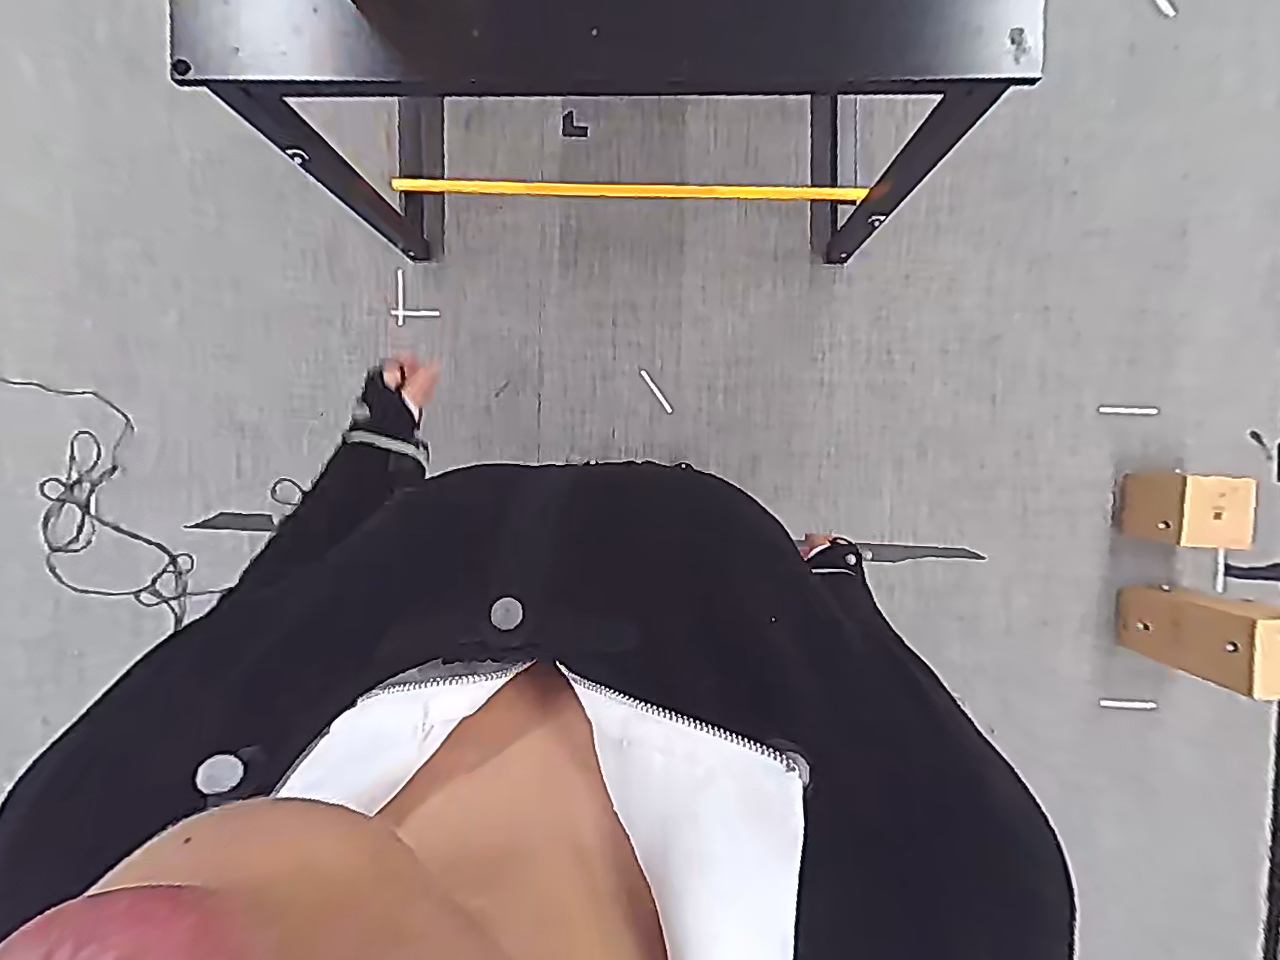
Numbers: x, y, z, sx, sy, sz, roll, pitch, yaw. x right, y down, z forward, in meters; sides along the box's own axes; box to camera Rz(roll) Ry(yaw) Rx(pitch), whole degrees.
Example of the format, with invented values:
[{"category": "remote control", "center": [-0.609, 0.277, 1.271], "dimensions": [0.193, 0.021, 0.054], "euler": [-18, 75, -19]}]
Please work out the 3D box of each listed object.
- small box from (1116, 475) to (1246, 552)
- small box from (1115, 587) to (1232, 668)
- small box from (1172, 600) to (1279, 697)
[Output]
[{"category": "small box", "center": [1.377, 0.080, 1.389], "dimensions": [0.168, 0.176, 0.179], "euler": [3, 91, 1]}, {"category": "small box", "center": [1.382, 0.379, 1.400], "dimensions": [0.179, 0.176, 0.168], "euler": [-1, 92, 2]}, {"category": "small box", "center": [1.374, 0.377, 1.234], "dimensions": [0.168, 0.176, 0.179], "euler": [-1, 92, 1]}]
